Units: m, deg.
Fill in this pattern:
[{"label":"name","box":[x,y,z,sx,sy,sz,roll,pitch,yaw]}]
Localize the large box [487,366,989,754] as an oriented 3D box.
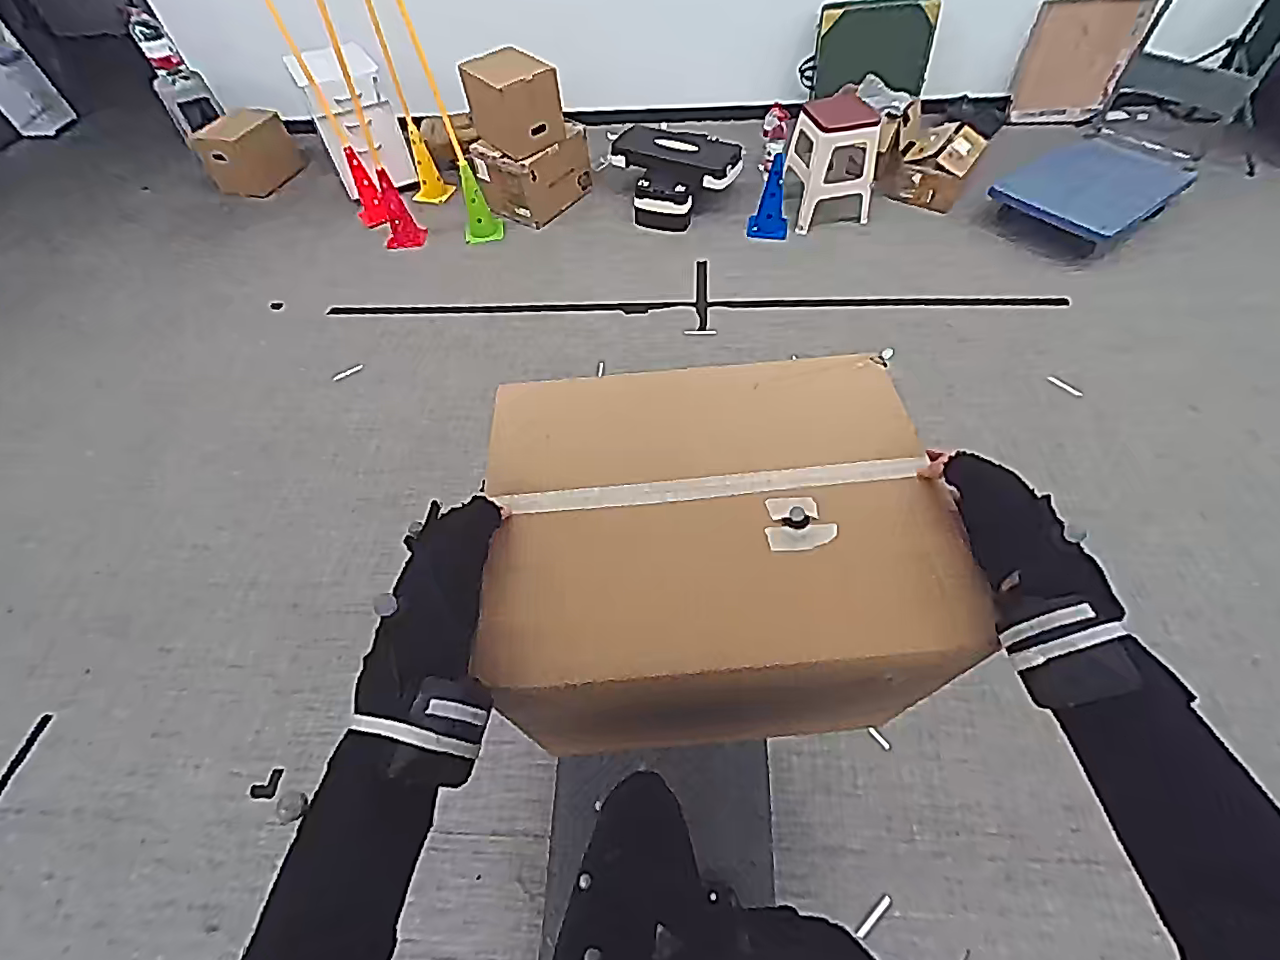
[{"label":"large box","box":[0.070,0.103,0.624,0.408,0.320,0.320,-5,55,0]}]
